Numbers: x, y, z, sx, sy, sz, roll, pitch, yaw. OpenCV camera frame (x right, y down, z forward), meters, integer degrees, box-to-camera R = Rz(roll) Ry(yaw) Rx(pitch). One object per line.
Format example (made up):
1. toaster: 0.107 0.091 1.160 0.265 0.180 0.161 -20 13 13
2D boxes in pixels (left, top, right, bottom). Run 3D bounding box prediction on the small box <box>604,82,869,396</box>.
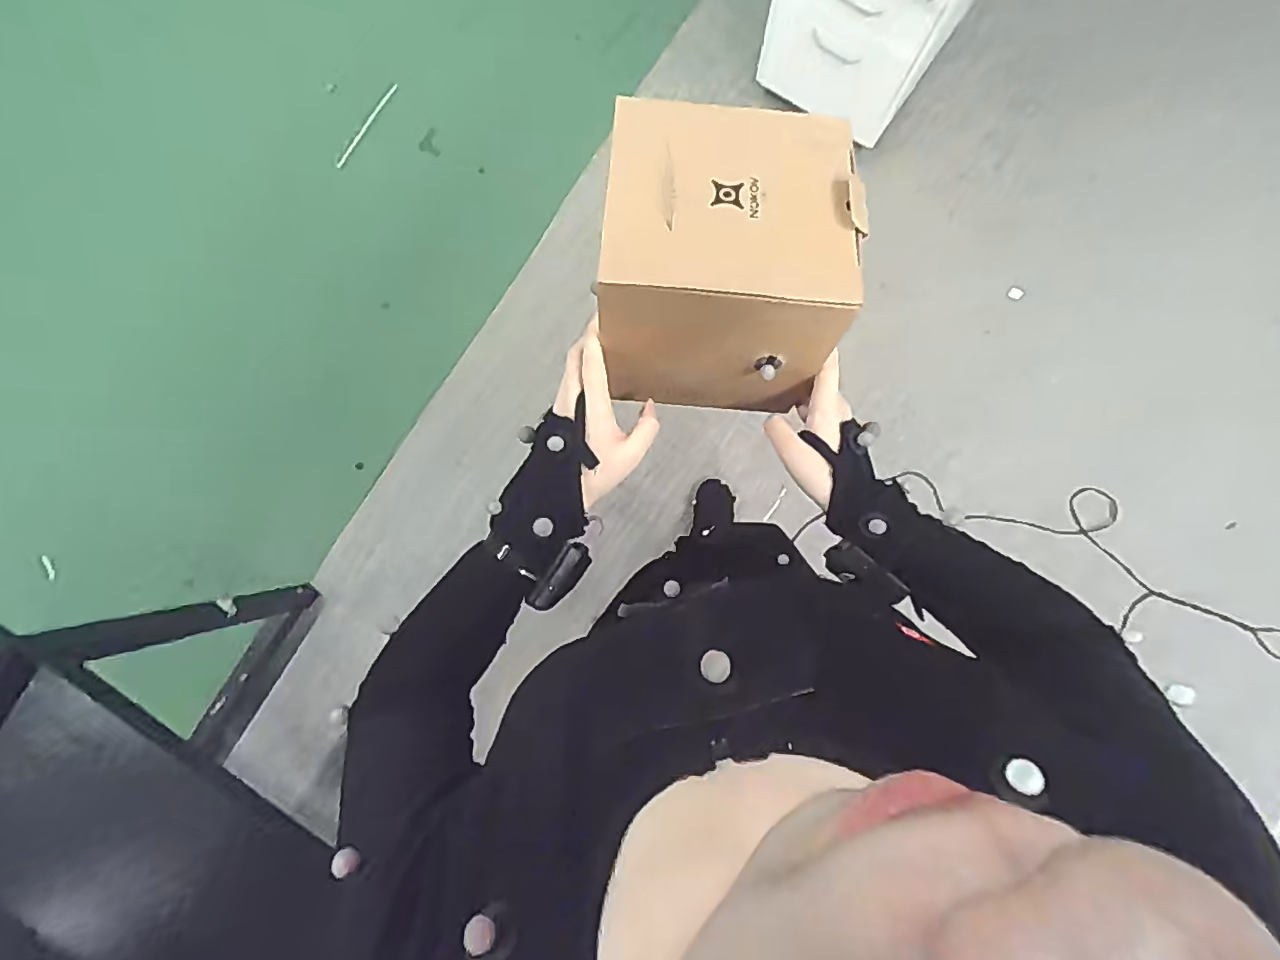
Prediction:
1. small box: 0.064 -0.182 0.449 0.179 0.176 0.168 4 71 -1
